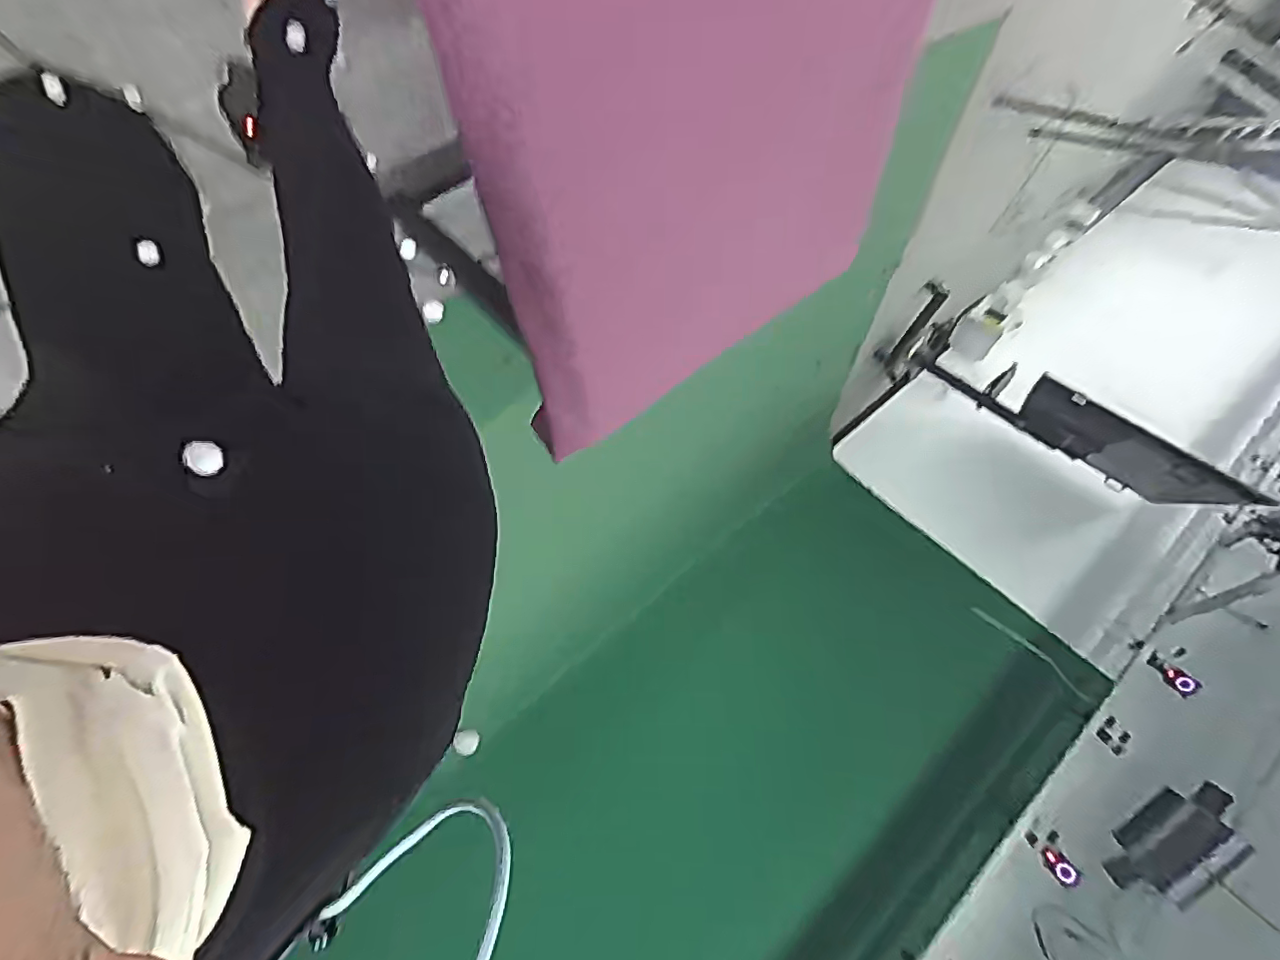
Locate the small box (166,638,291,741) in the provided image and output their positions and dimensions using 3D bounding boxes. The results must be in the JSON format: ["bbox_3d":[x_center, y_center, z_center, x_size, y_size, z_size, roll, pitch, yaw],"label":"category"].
[{"bbox_3d":[-1.045,0.528,1.375,0.168,0.176,0.179,-36,154,-16],"label":"small box"}]
